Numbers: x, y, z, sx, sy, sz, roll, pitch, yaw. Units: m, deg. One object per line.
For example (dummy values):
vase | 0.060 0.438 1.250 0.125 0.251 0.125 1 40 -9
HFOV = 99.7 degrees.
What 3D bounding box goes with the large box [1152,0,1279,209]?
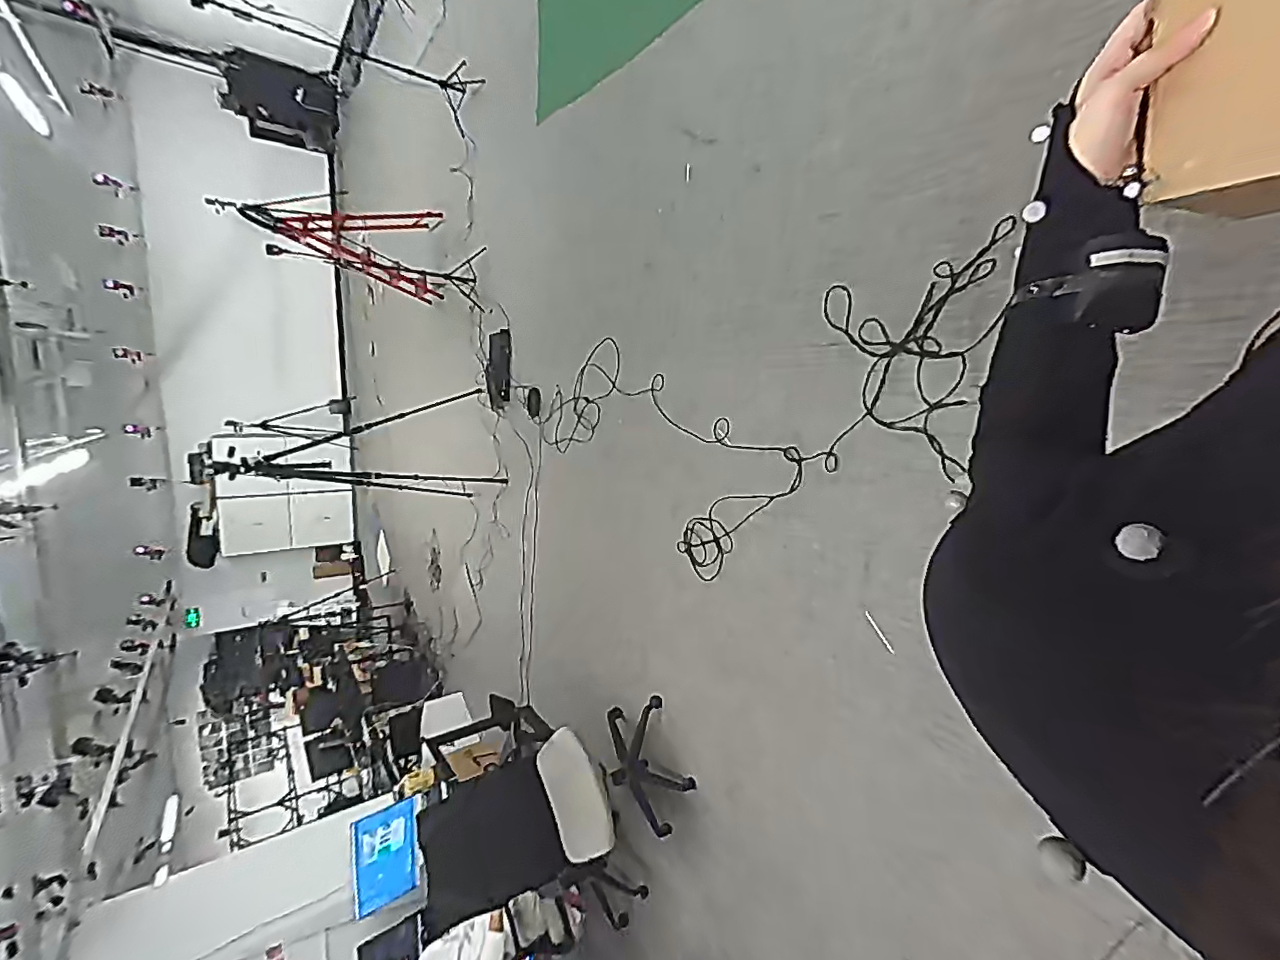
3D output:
large box | 0.601 -0.372 0.292 0.408 0.320 0.320 11 112 56
